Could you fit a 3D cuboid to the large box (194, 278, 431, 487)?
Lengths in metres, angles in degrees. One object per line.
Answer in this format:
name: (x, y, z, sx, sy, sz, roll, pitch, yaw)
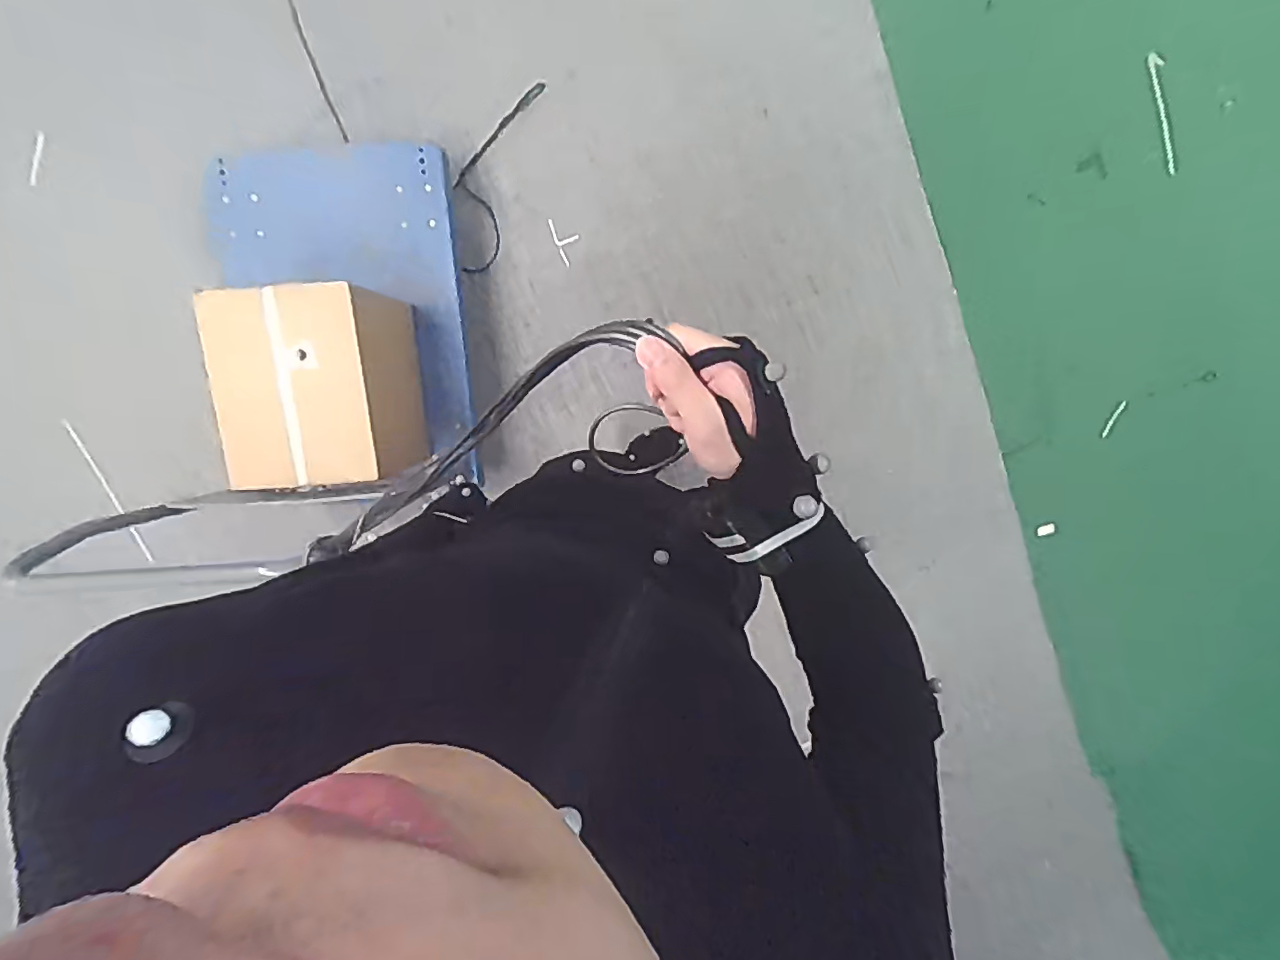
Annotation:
large box: (-0.708, -0.213, 1.236, 0.320, 0.320, 0.408, -4, 99, 0)
